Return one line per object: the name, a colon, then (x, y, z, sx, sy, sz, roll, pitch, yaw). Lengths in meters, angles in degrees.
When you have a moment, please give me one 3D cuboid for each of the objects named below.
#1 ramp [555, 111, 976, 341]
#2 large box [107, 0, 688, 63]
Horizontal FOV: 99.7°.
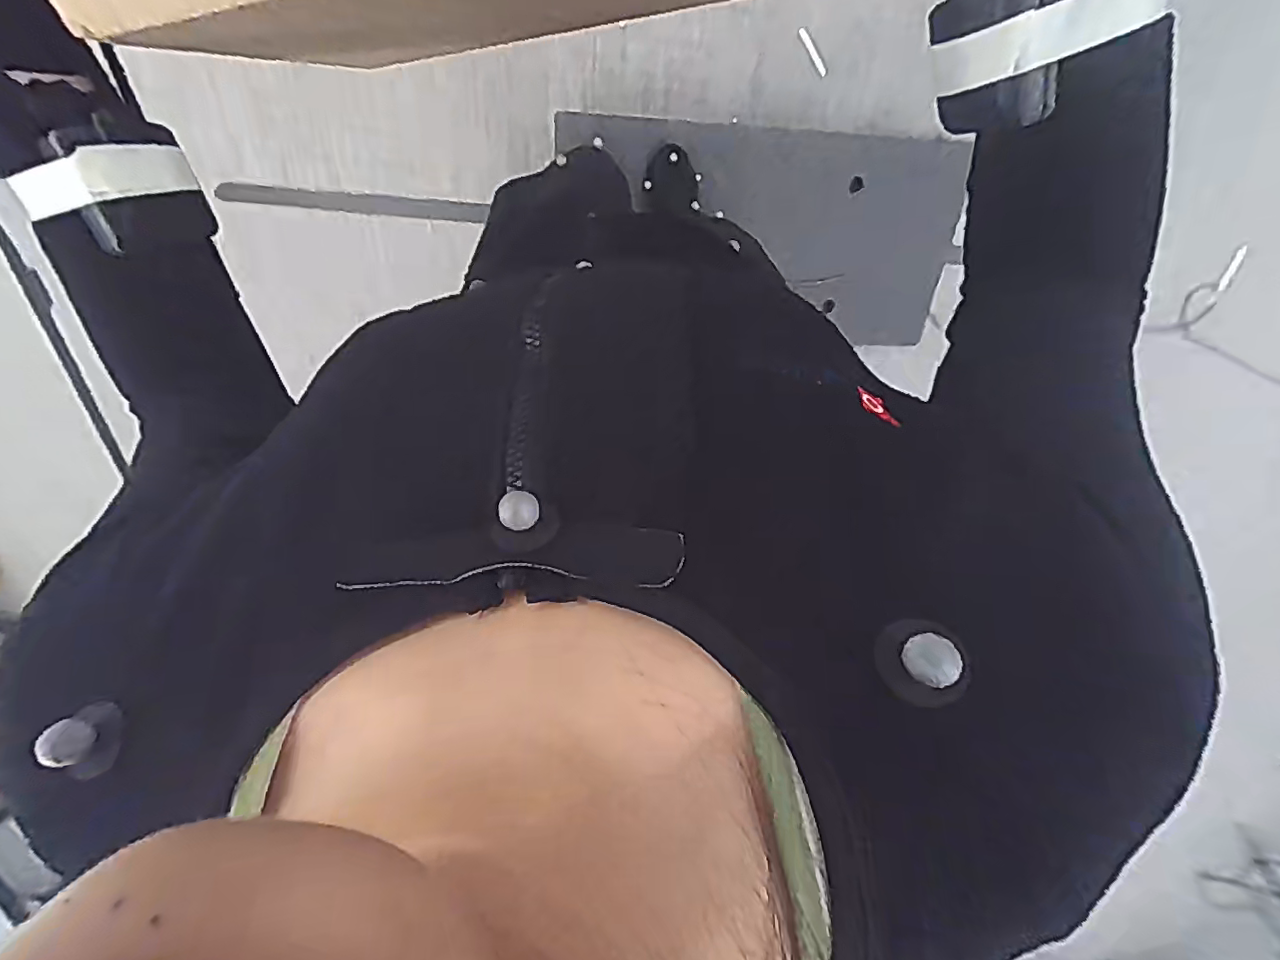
ramp: (0.298, -0.595, 1.343, 0.991, 0.206, 0.509, 3, 120, 2)
large box: (-0.081, -0.453, 0.287, 0.408, 0.320, 0.320, -5, 124, 7)
